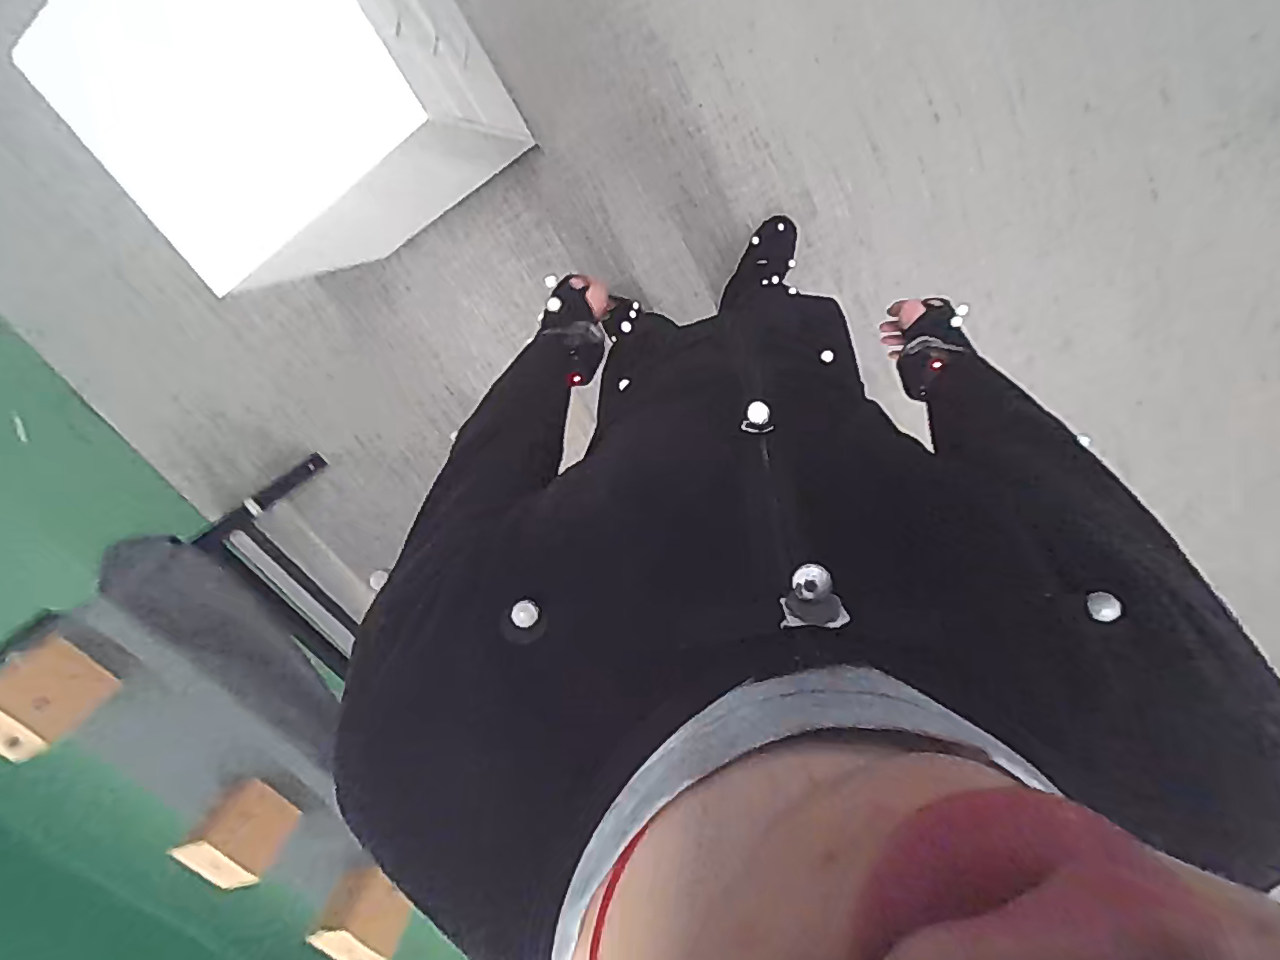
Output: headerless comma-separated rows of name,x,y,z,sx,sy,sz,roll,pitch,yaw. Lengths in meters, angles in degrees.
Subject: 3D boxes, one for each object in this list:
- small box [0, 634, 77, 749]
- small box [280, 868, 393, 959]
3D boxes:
small box,-1.392,0.465,1.157,0.168,0.176,0.179,-23,113,17
small box,-0.844,1.225,1.520,0.168,0.176,0.179,-25,112,19
